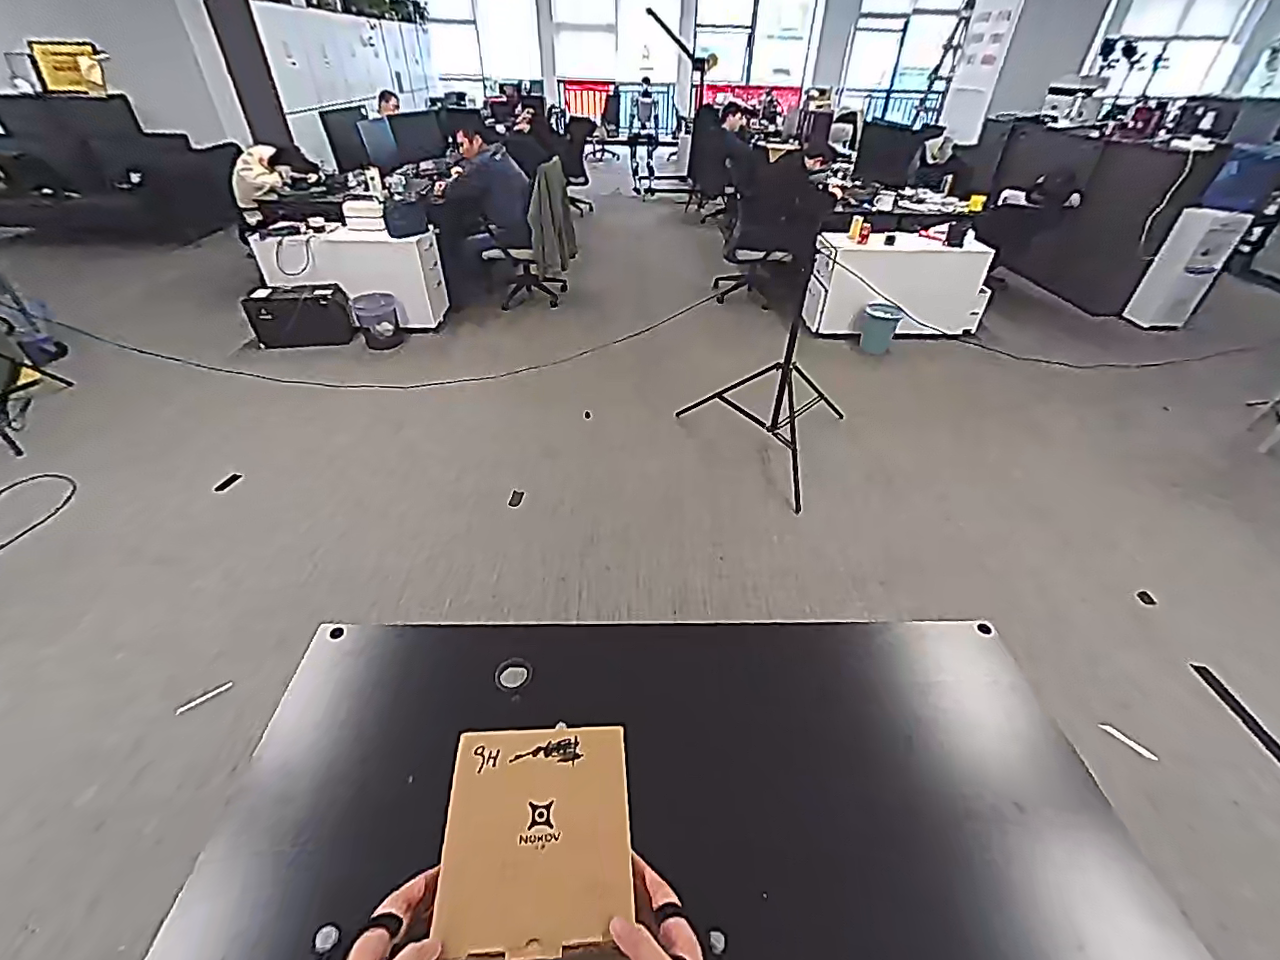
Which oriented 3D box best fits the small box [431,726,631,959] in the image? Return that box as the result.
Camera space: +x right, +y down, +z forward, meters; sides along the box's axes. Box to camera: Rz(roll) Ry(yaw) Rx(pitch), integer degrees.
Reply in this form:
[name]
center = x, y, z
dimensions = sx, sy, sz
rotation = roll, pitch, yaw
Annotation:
[small box]
center = -0.100, 0.376, 0.553
dimensions = 0.168, 0.176, 0.179
rotation = 1, 43, -8
